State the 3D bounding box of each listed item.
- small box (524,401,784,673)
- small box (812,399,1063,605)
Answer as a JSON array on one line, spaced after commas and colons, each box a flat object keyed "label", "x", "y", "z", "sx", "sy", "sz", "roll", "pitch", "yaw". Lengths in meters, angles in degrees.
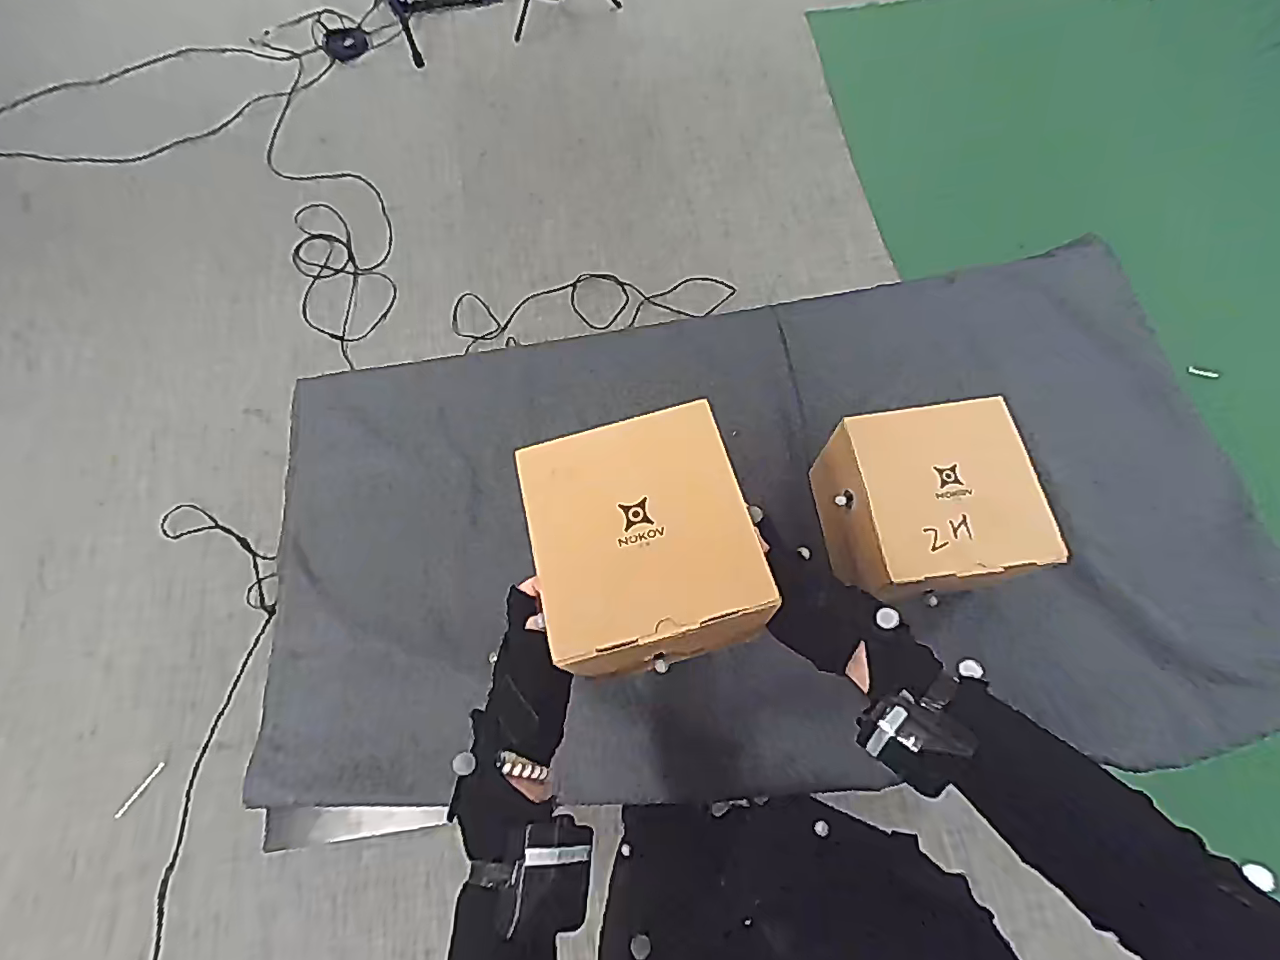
[{"label": "small box", "x": 0.008, "y": 0.061, "z": 0.483, "sx": 0.168, "sy": 0.176, "sz": 0.179, "roll": -15, "pitch": 67, "yaw": -2}, {"label": "small box", "x": 0.306, "y": 0.033, "z": 0.604, "sx": 0.168, "sy": 0.176, "sz": 0.179, "roll": -8, "pitch": 70, "yaw": 1}]
